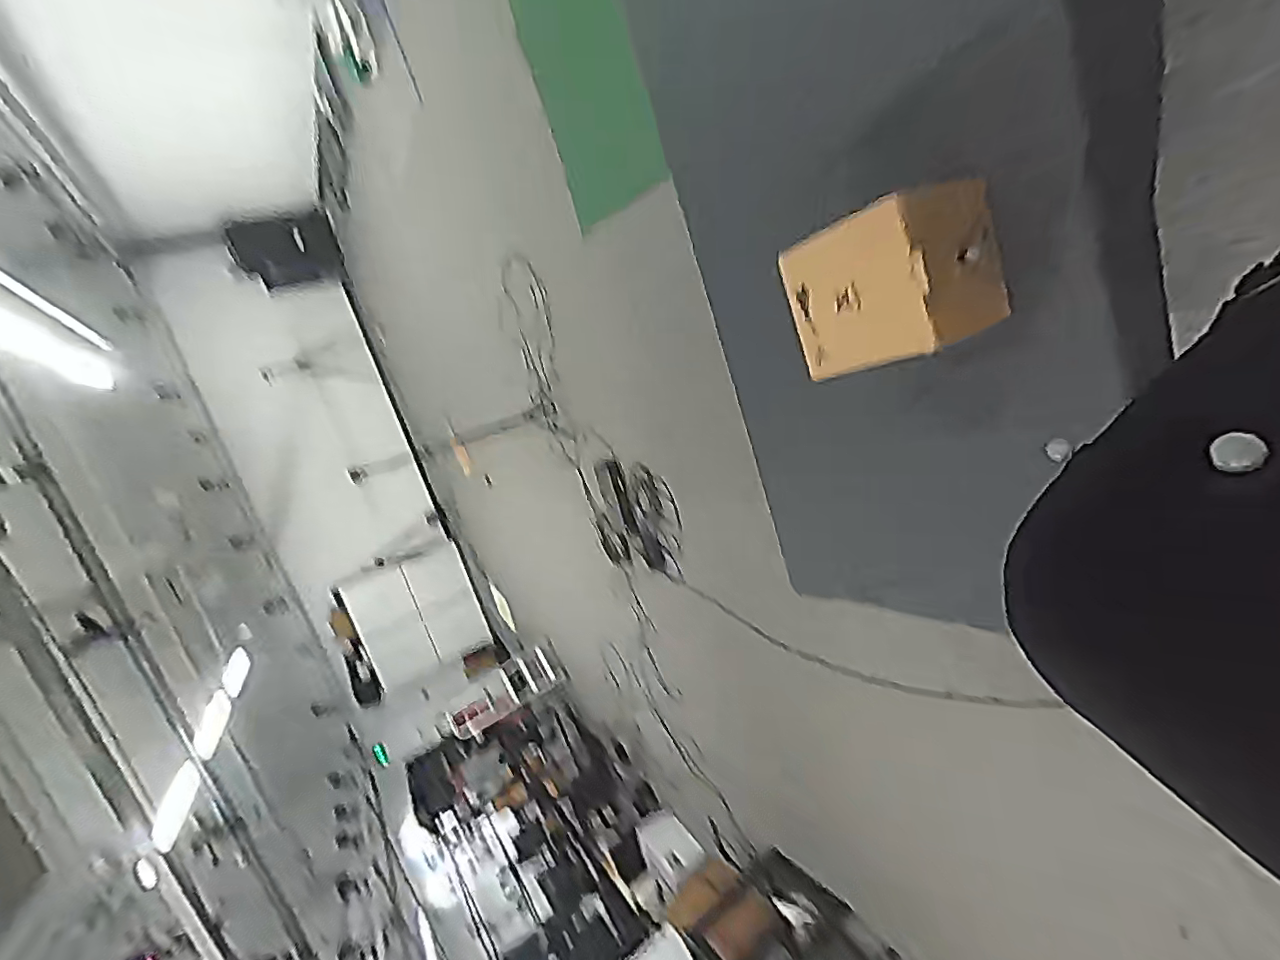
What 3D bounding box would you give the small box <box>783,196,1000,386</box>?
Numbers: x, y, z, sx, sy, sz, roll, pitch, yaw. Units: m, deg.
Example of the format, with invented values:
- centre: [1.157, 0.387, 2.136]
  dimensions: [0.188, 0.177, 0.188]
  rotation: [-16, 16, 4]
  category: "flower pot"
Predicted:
- centre: [0.320, -0.234, 0.682]
  dimensions: [0.179, 0.176, 0.168]
  rotation: [-5, 107, 60]
  category: "small box"
